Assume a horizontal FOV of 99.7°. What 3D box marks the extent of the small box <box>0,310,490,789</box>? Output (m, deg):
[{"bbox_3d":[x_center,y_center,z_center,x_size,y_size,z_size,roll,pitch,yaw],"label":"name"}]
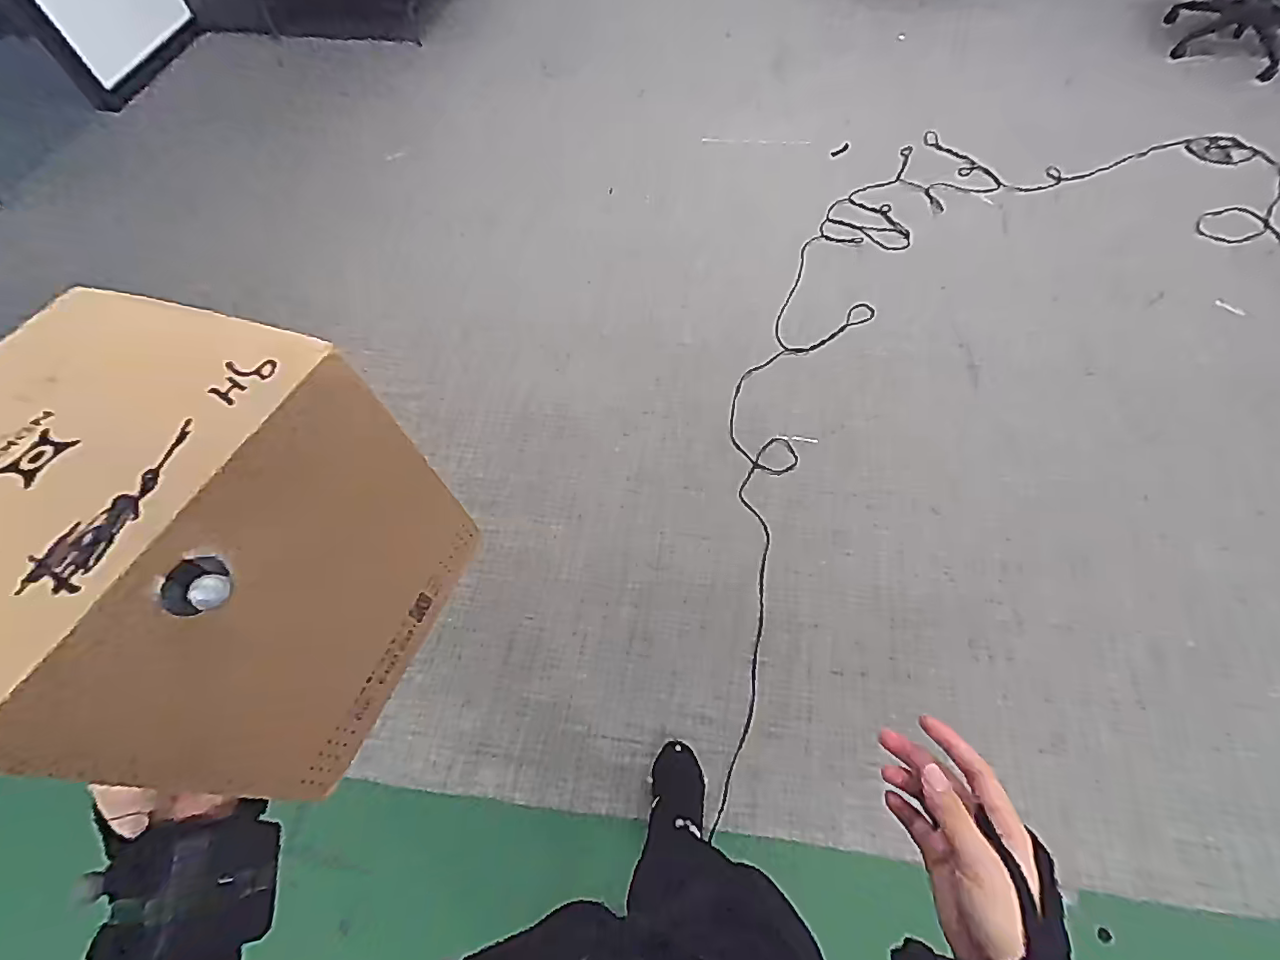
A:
[{"bbox_3d":[-0.212,0.041,0.280,0.179,0.176,0.168,14,61,17],"label":"small box"}]
